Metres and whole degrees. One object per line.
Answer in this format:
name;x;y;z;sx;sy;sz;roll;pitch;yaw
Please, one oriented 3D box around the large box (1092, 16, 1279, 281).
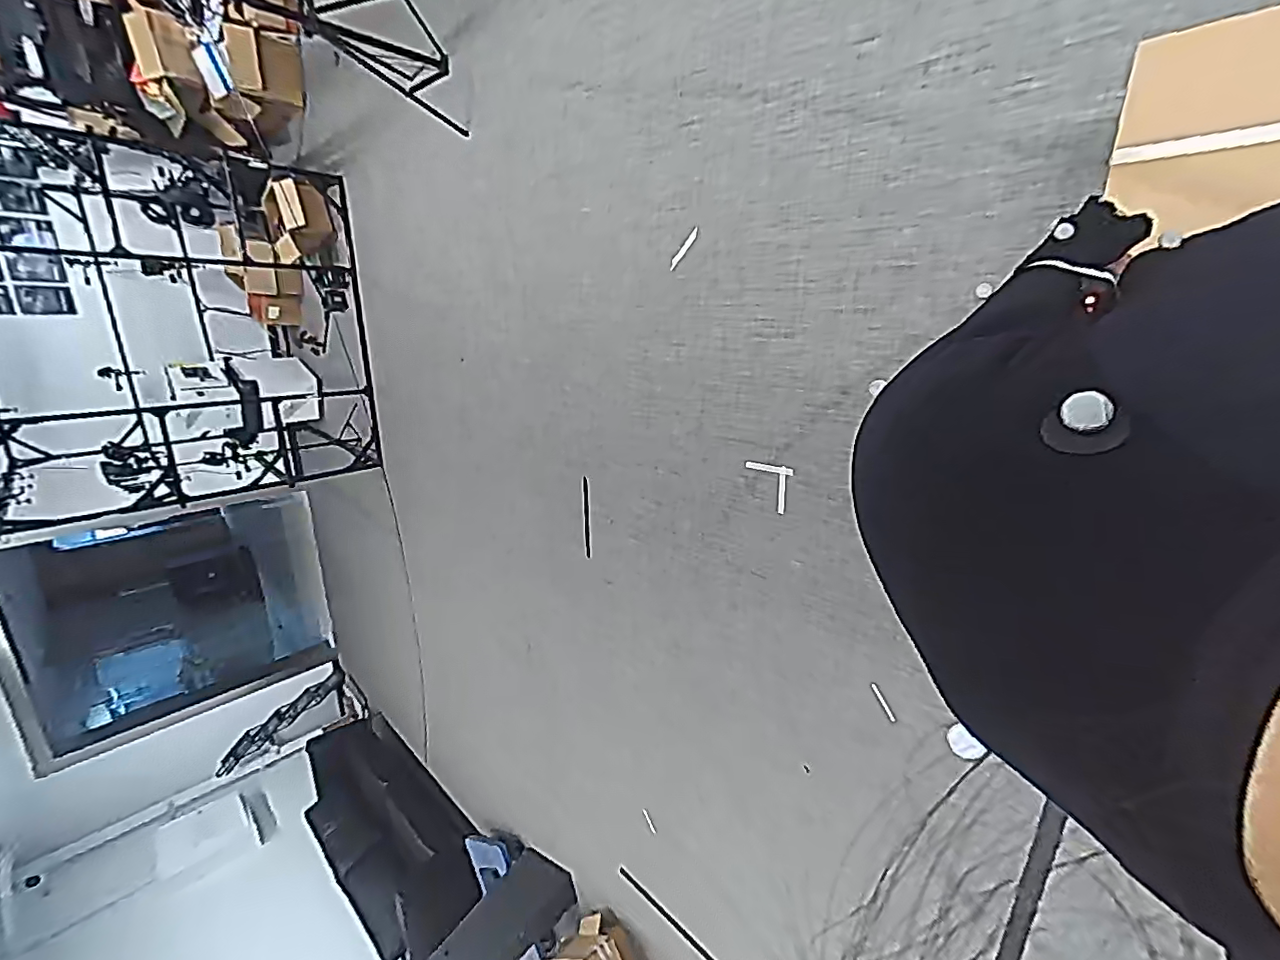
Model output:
large box;0.998;-0.493;0.834;0.408;0.320;0.320;15;112;42
